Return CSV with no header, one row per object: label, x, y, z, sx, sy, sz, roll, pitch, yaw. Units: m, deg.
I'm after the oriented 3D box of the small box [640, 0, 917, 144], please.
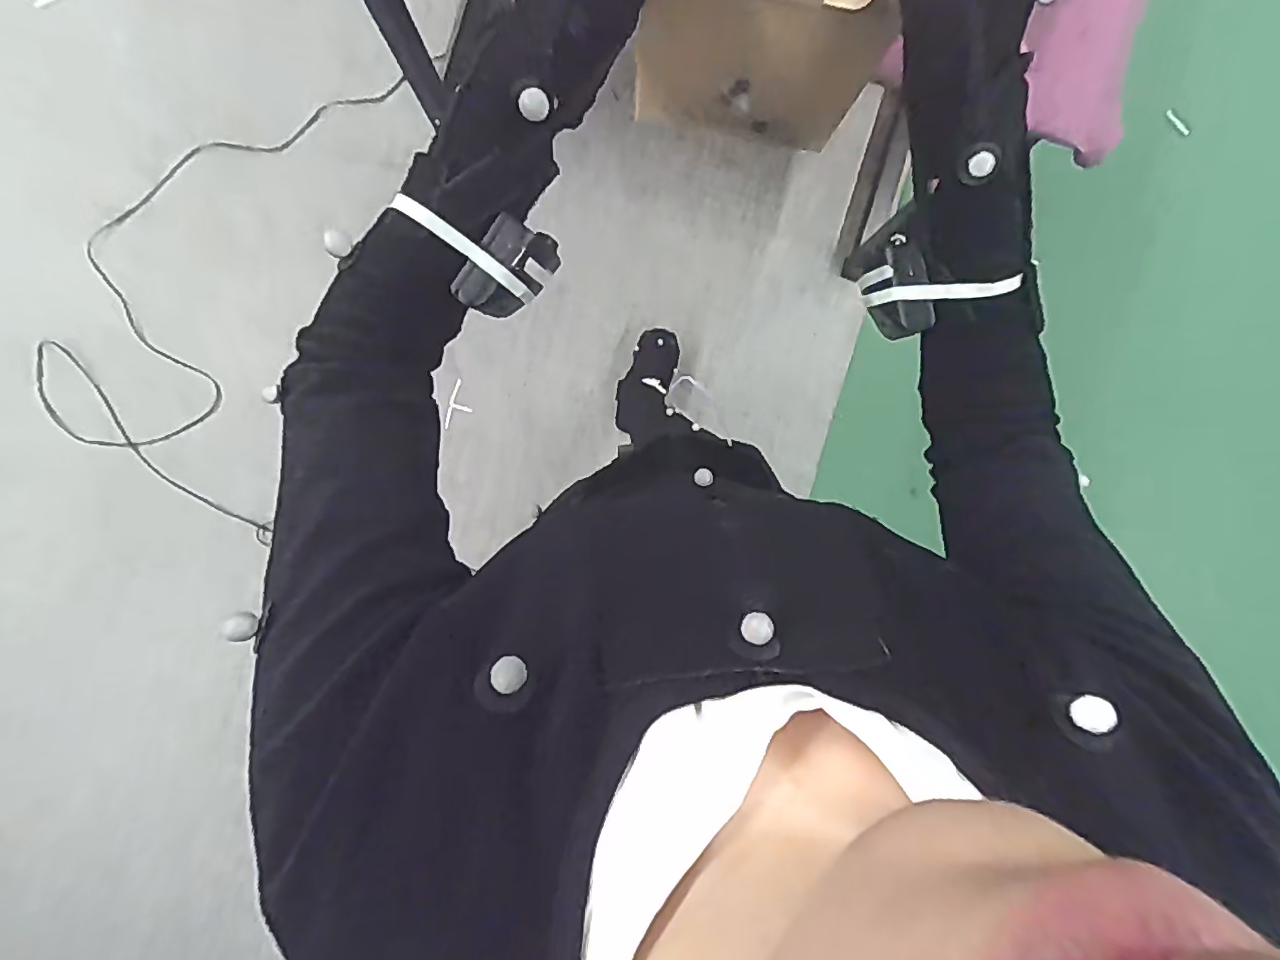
small box,0.095,-0.383,0.379,0.168,0.176,0.179,9,90,-4
